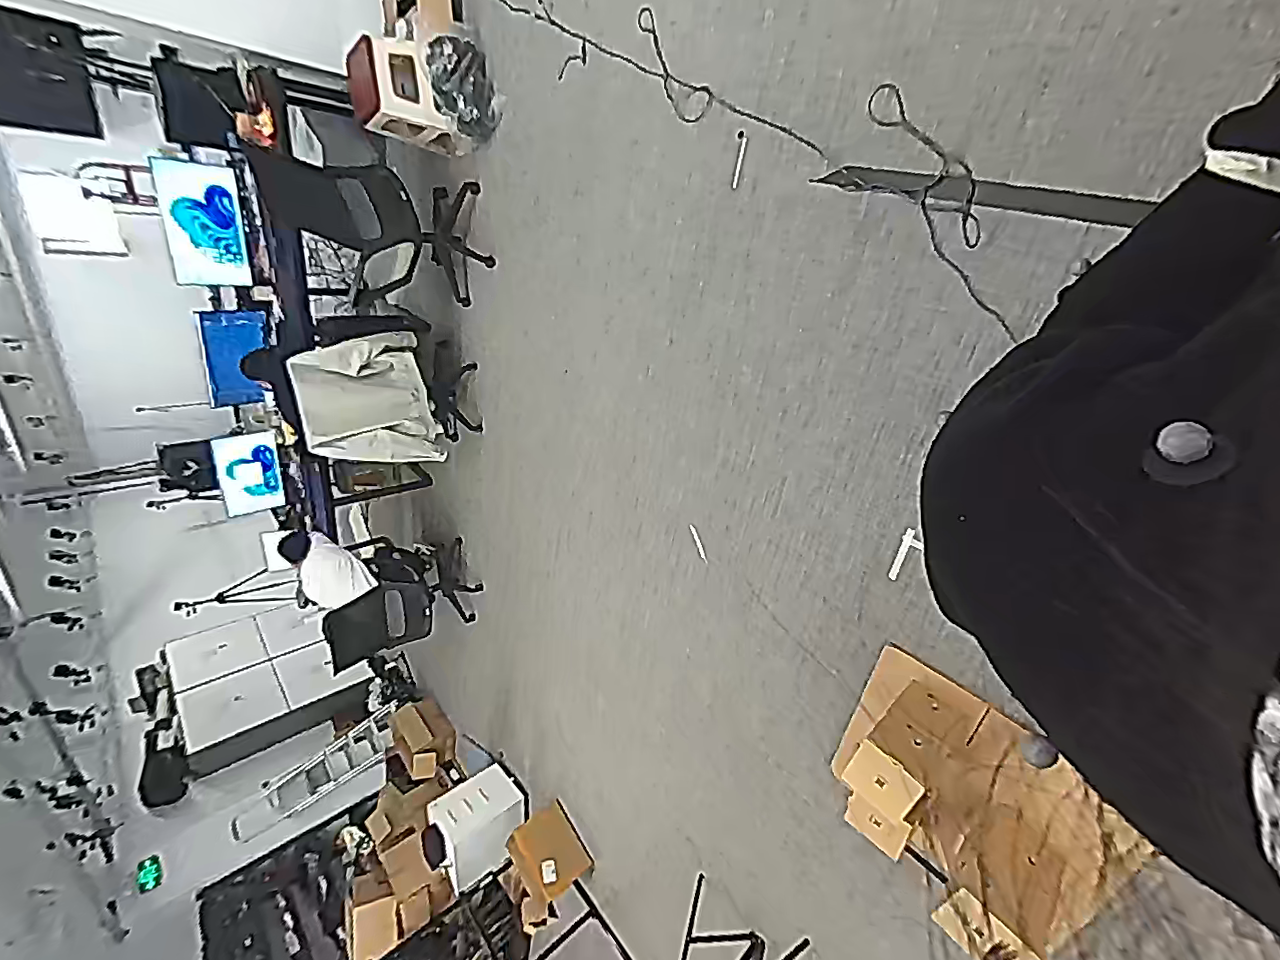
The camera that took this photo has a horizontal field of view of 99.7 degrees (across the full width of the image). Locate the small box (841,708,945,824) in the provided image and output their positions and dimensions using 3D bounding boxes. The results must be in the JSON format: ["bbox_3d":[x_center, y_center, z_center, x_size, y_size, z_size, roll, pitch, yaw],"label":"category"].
[{"bbox_3d":[0.673,0.751,1.434,0.168,0.176,0.179,36,126,35],"label":"small box"}]

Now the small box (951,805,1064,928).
[{"bbox_3d":[0.975,1.017,1.432,0.179,0.176,0.168,40,129,31],"label":"small box"}]

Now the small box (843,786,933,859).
[{"bbox_3d":[0.763,0.999,1.666,0.179,0.176,0.168,28,123,41],"label":"small box"}]
